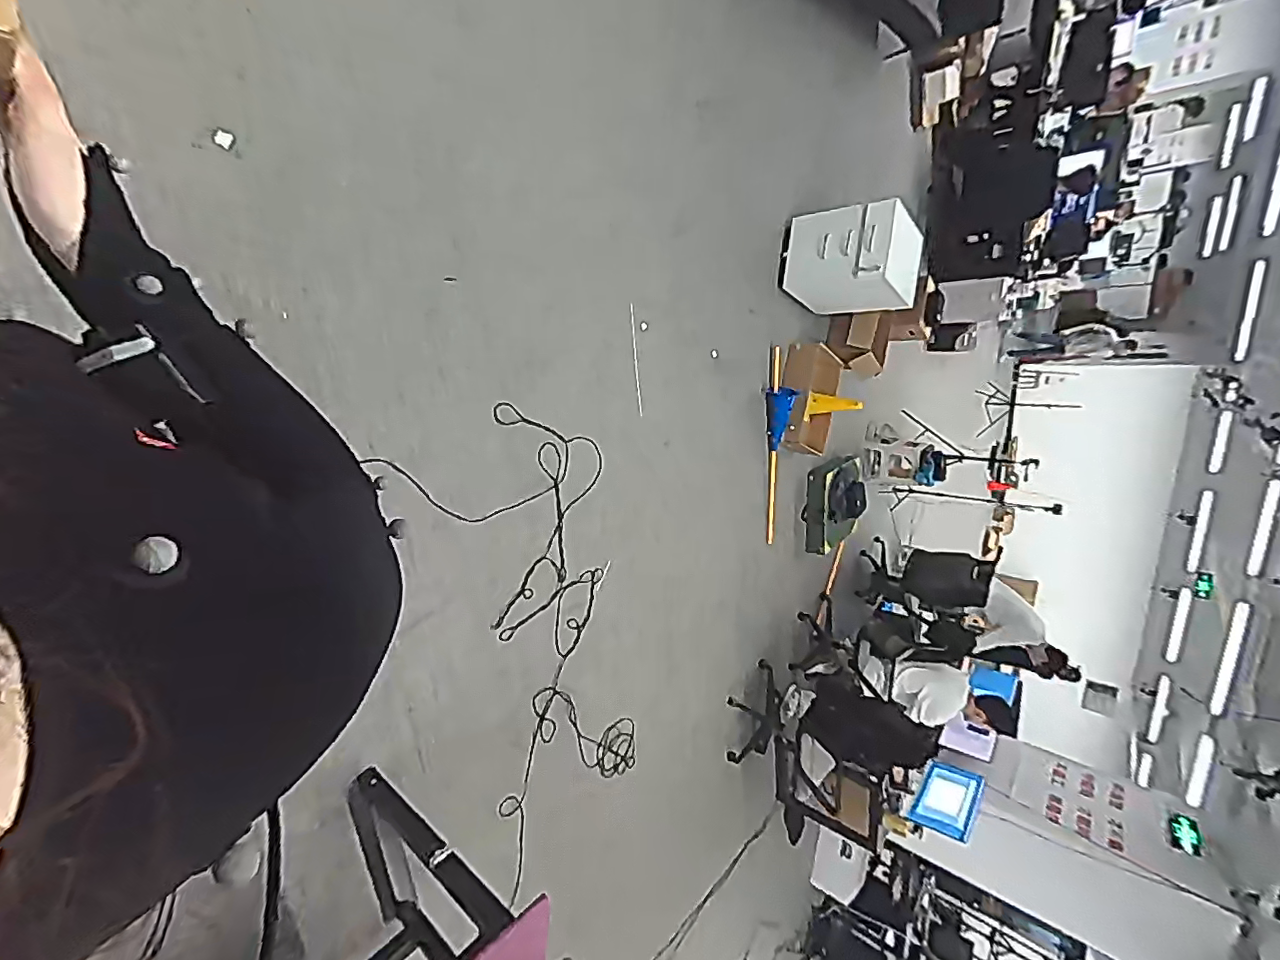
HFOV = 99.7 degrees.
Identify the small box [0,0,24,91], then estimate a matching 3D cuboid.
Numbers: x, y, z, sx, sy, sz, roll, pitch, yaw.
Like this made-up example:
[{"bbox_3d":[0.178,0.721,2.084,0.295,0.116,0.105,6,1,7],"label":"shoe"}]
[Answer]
[{"bbox_3d":[-0.412,-0.312,0.238,0.168,0.176,0.179,-9,107,-51],"label":"small box"}]
